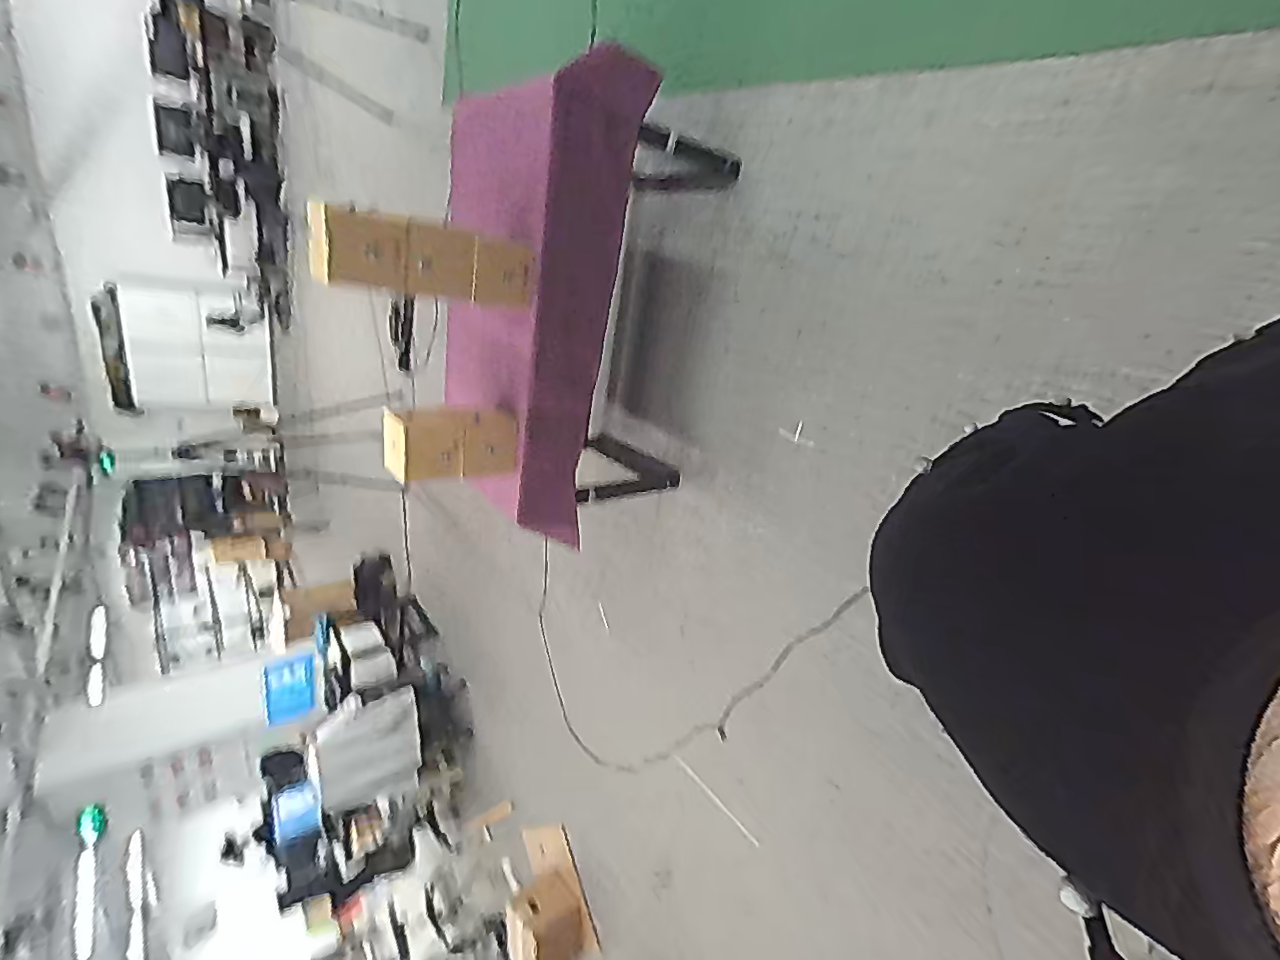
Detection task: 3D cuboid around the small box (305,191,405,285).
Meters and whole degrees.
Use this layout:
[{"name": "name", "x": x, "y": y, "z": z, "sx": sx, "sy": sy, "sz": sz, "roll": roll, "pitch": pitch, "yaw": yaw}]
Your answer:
[{"name": "small box", "x": -0.661, "y": -0.559, "z": 1.260, "sx": 0.179, "sy": 0.176, "sz": 0.168, "roll": 33, "pitch": 119, "yaw": 40}]

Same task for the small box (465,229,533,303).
[{"name": "small box", "x": -0.409, "y": -0.584, "z": 1.470, "sx": 0.179, "sy": 0.176, "sz": 0.168, "roll": 33, "pitch": 119, "yaw": 41}]

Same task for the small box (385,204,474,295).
[{"name": "small box", "x": -0.532, "y": -0.575, "z": 1.362, "sx": 0.168, "sy": 0.176, "sz": 0.179, "roll": 33, "pitch": 119, "yaw": 40}]

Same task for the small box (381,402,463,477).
[{"name": "small box", "x": -0.623, "y": -0.119, "z": 1.539, "sx": 0.179, "sy": 0.176, "sz": 0.168, "roll": 29, "pitch": 117, "yaw": 42}]
